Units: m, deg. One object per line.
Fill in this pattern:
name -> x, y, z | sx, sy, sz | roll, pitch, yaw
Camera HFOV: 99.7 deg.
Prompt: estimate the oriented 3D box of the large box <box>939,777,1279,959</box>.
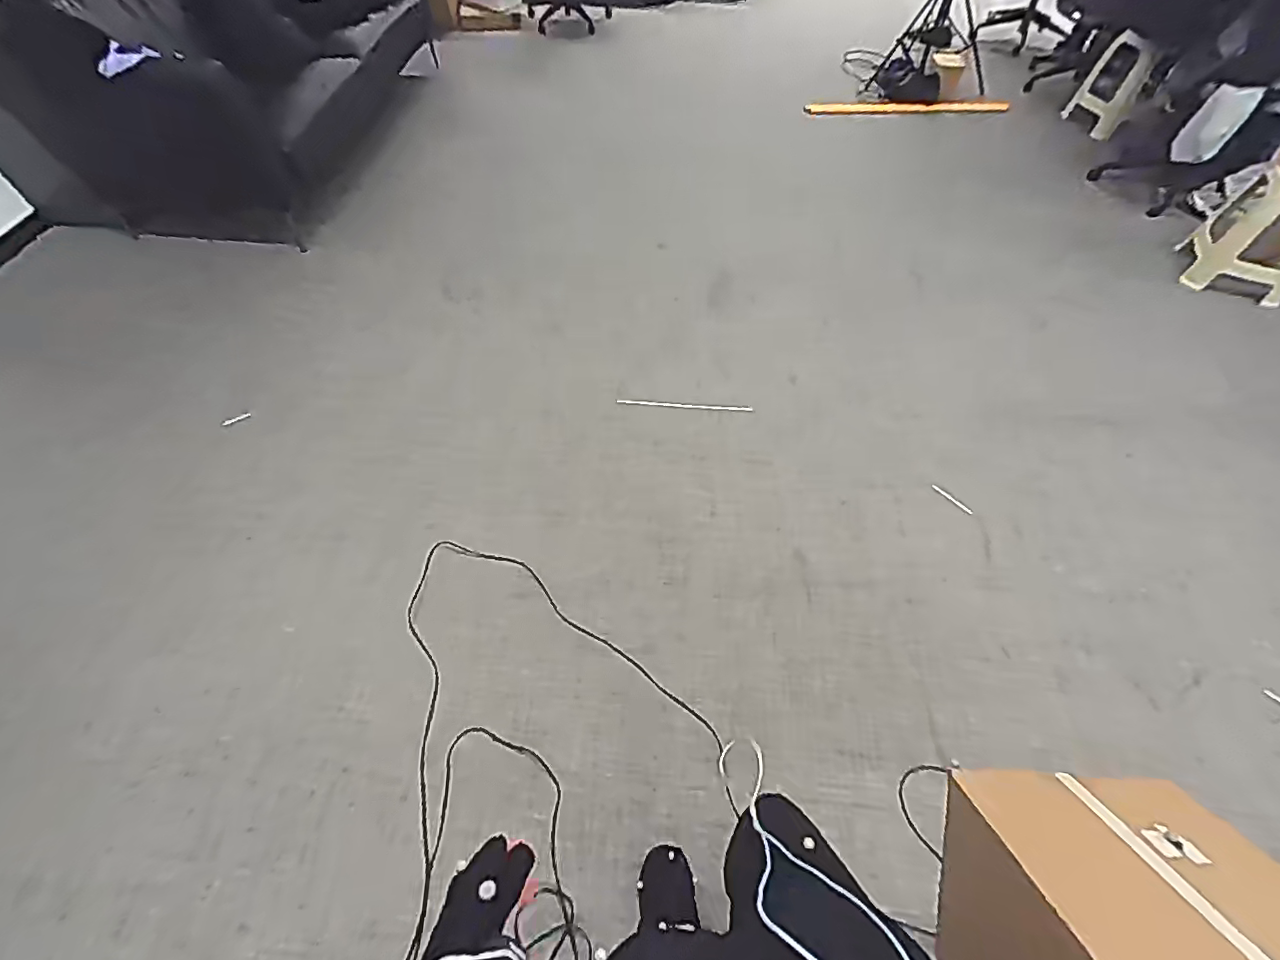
large box -> 0.605, 0.622, 0.627 | 0.320, 0.408, 0.320 | 2, 96, 4
